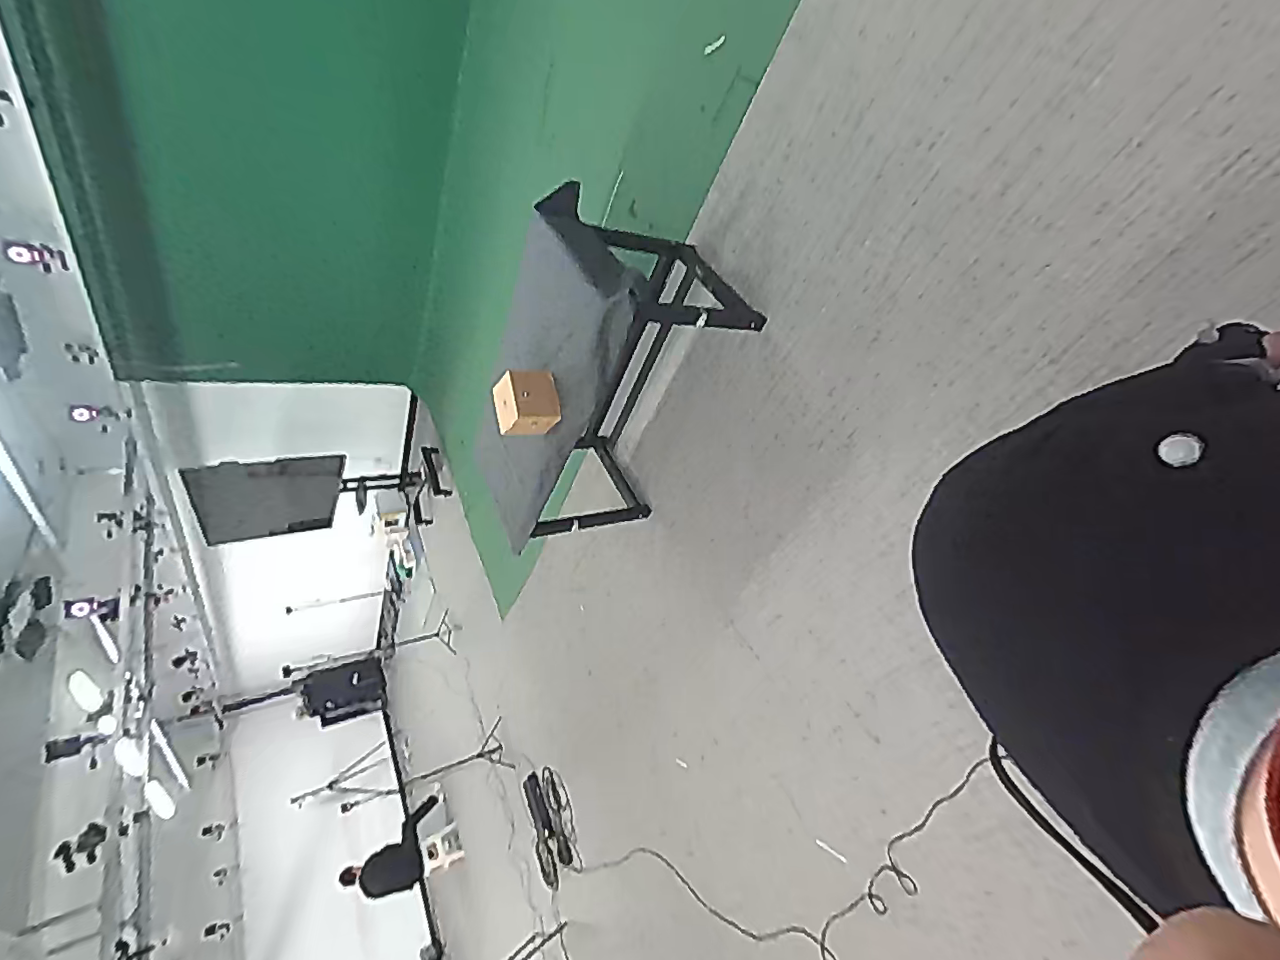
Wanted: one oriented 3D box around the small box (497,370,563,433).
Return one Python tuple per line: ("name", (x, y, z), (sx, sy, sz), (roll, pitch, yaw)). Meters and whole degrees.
("small box", (-0.385, -0.275, 1.902), (0.168, 0.176, 0.179), (-27, 72, 52))
